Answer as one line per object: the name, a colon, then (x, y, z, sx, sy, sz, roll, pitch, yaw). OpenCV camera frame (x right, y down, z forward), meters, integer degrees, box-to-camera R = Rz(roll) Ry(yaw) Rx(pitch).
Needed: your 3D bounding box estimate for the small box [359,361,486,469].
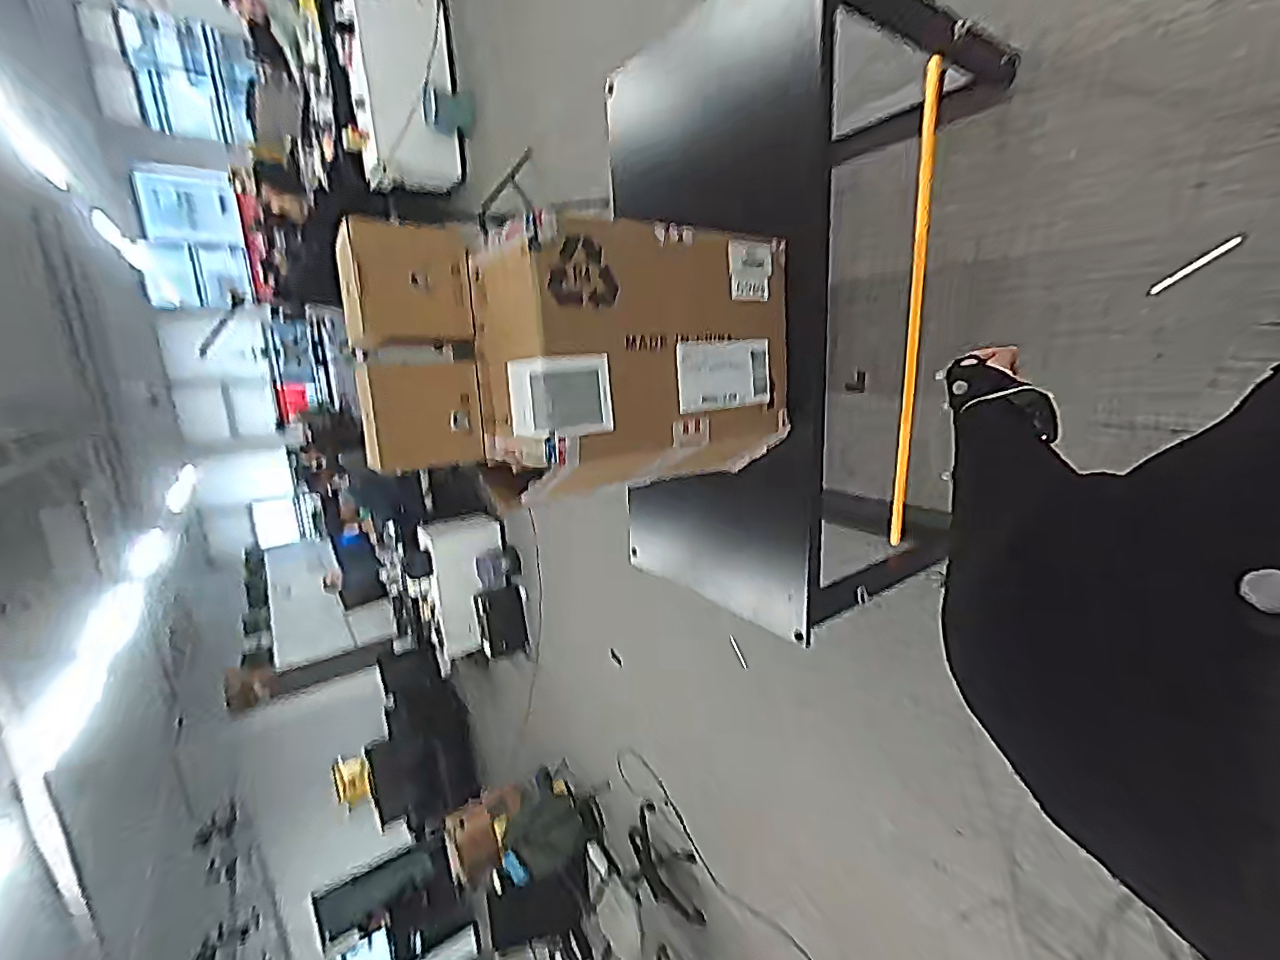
small box: (-0.377, -0.115, 0.939, 0.179, 0.176, 0.168, 7, 105, 57)

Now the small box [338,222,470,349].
small box: (-0.388, -0.311, 0.899, 0.179, 0.176, 0.168, 9, 104, 55)
